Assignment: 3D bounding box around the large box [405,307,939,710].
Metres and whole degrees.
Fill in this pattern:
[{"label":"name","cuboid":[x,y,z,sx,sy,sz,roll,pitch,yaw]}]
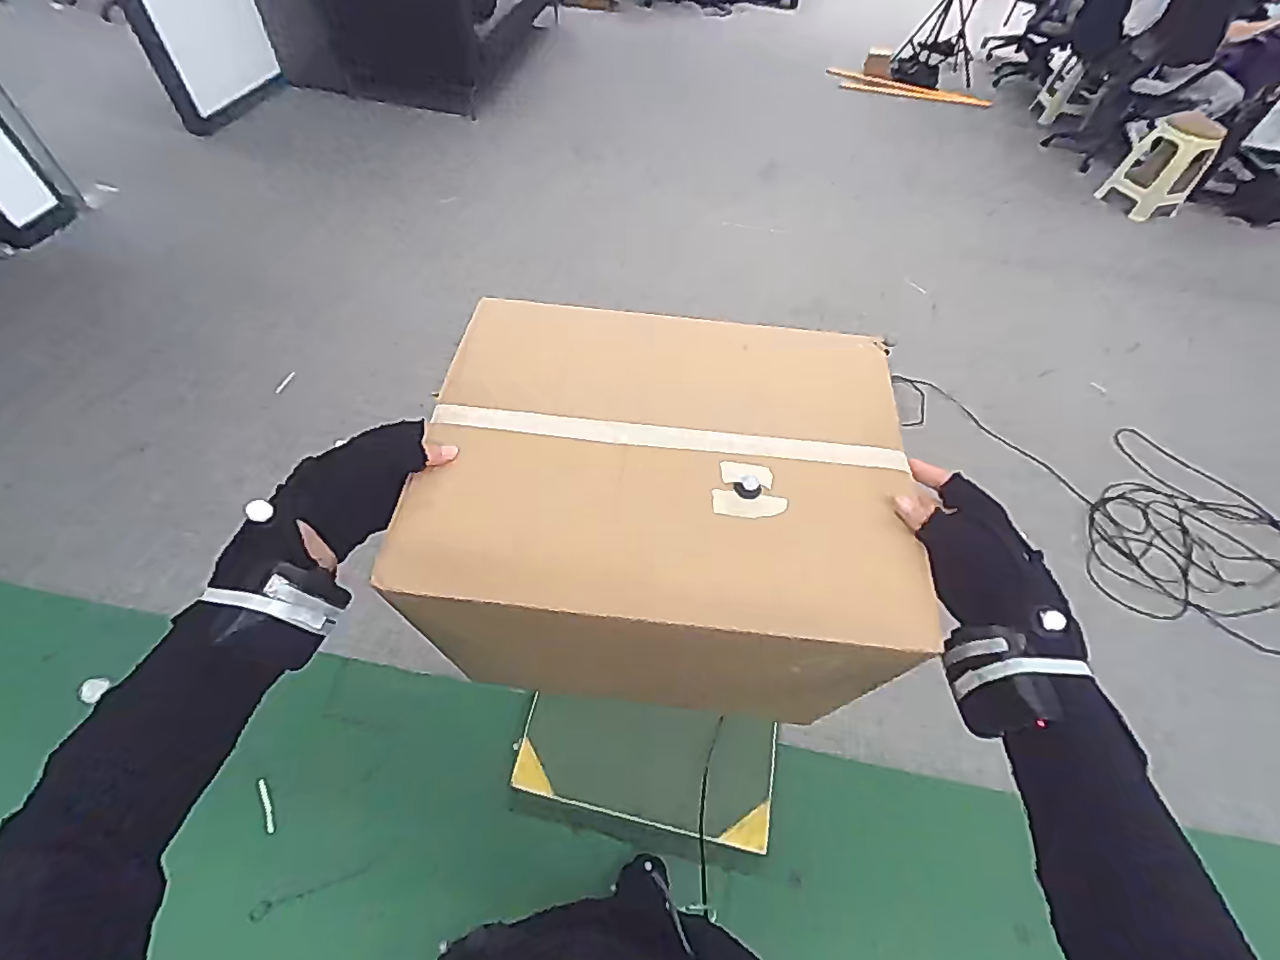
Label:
[{"label":"large box","cuboid":[0.027,0.047,0.598,0.408,0.320,0.320,7,58,1]}]
